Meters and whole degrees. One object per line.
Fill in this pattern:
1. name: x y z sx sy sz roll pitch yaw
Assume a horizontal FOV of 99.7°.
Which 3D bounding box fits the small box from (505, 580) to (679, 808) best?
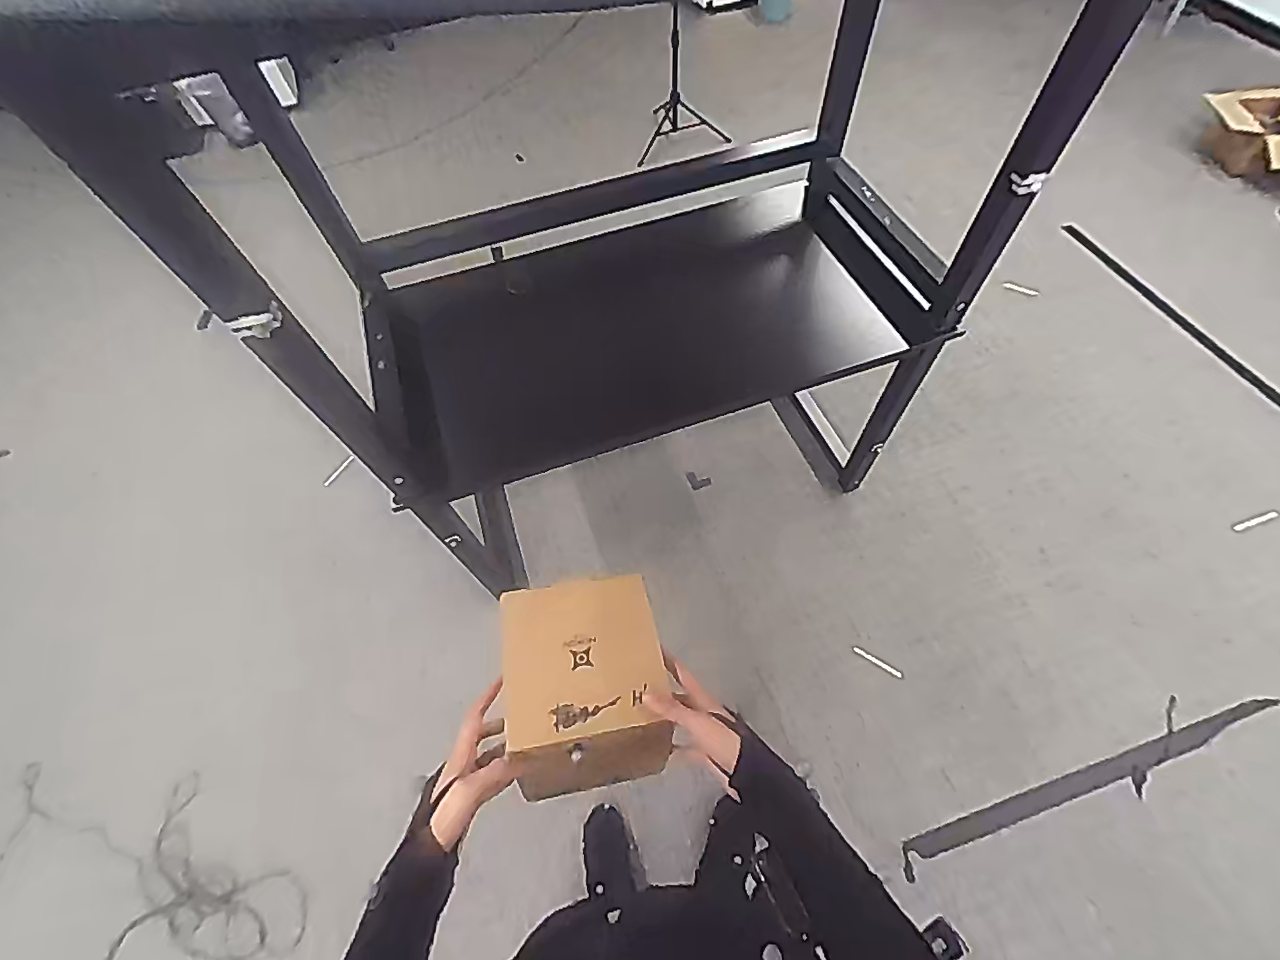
1. small box: -0.060 0.243 0.620 0.168 0.176 0.179 -7 46 -9
